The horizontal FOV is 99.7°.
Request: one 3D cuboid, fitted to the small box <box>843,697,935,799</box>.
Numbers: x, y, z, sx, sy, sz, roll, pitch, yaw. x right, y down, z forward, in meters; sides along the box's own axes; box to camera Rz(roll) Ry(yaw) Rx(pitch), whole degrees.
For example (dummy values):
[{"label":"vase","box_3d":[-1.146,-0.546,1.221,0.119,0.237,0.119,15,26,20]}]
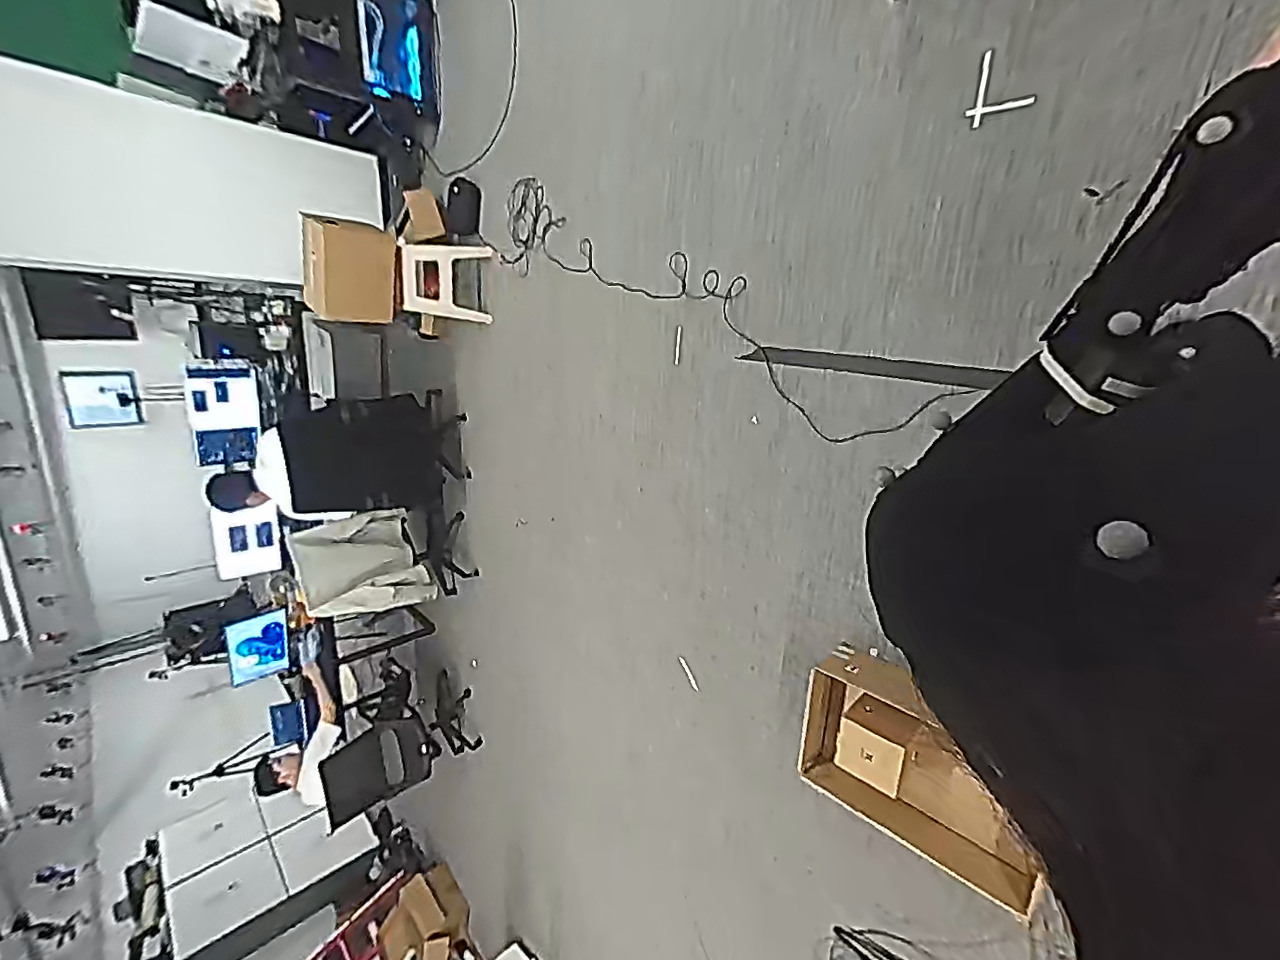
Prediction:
[{"label":"small box","box_3d":[0.701,0.741,1.523,0.179,0.176,0.168,15,110,42]}]
